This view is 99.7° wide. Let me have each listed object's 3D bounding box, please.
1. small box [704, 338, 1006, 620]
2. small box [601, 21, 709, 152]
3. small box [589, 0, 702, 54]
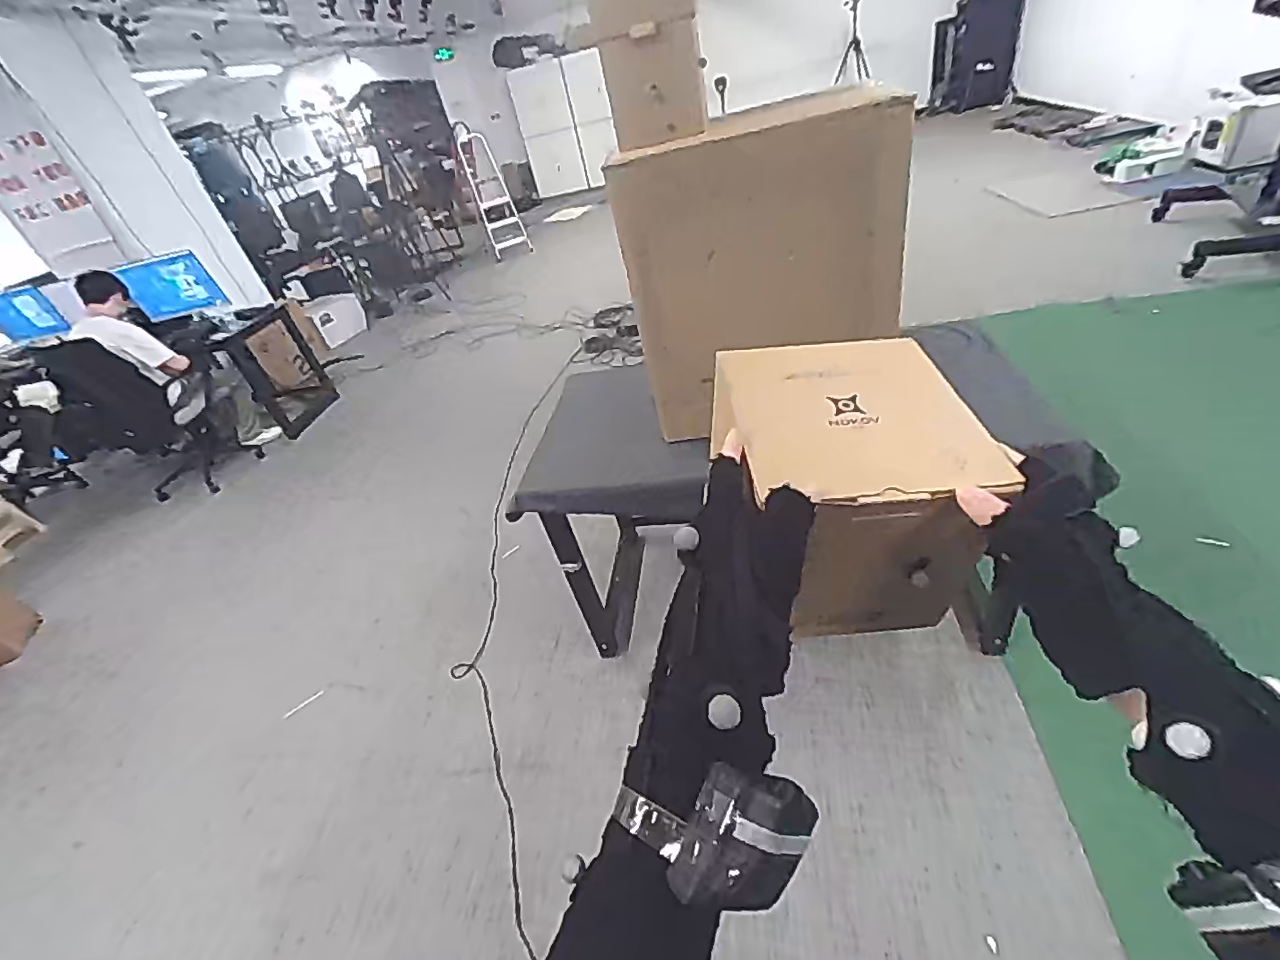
[{"bbox_3d":[0.149,0.003,0.452,0.168,0.176,0.179,-3,44,-2],"label":"small box"},{"bbox_3d":[0.038,-0.736,1.015,0.168,0.176,0.179,-5,40,13],"label":"small box"},{"bbox_3d":[0.008,-0.846,0.919,0.179,0.176,0.168,-5,39,13],"label":"small box"}]
